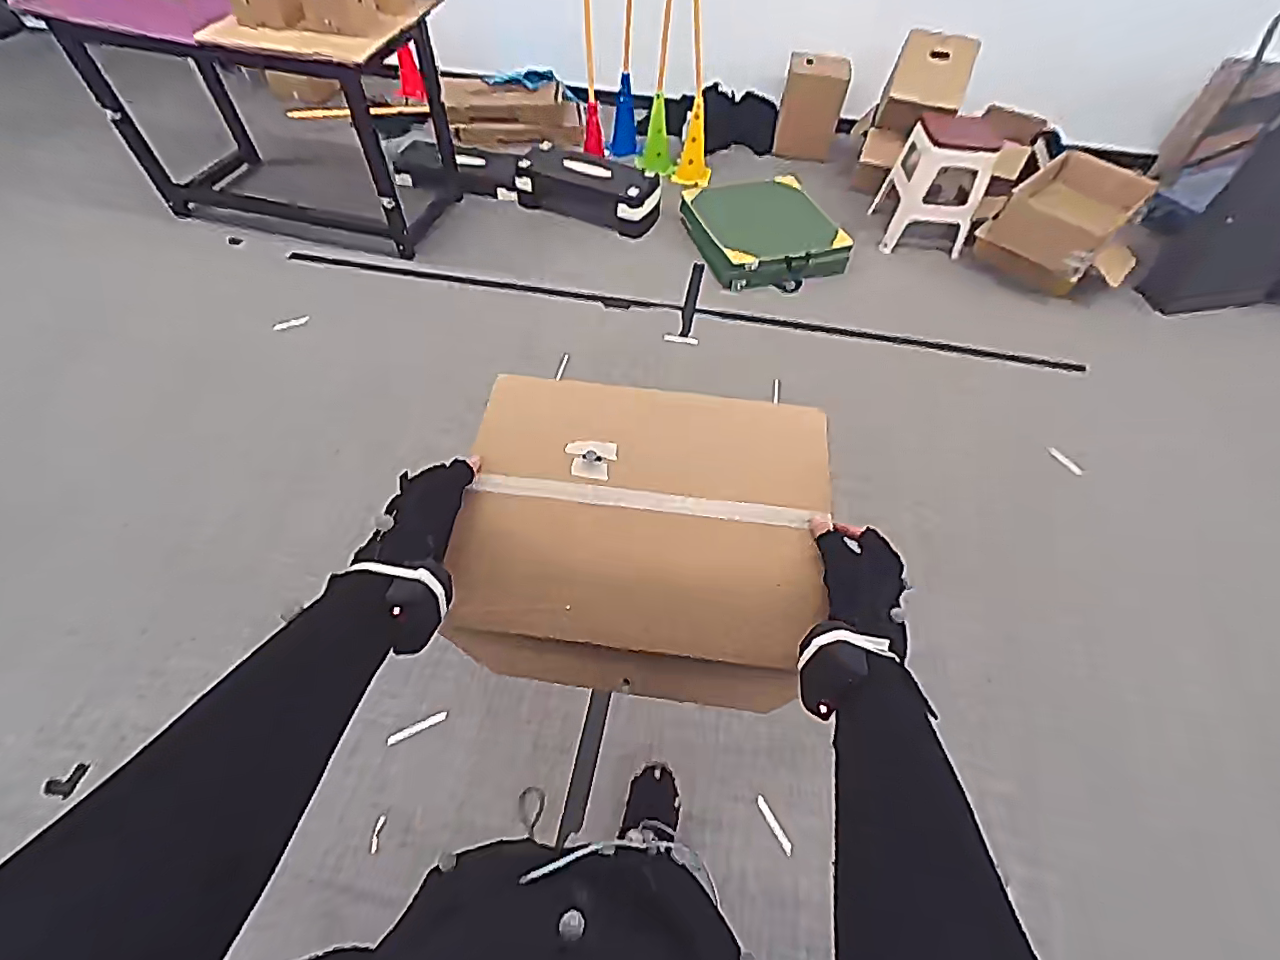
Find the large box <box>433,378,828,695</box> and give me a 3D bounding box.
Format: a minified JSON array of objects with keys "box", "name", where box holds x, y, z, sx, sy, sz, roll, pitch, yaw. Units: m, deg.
[{"box":[0.006,0.092,0.735,0.408,0.320,0.320,6,60,4],"name":"large box"}]
